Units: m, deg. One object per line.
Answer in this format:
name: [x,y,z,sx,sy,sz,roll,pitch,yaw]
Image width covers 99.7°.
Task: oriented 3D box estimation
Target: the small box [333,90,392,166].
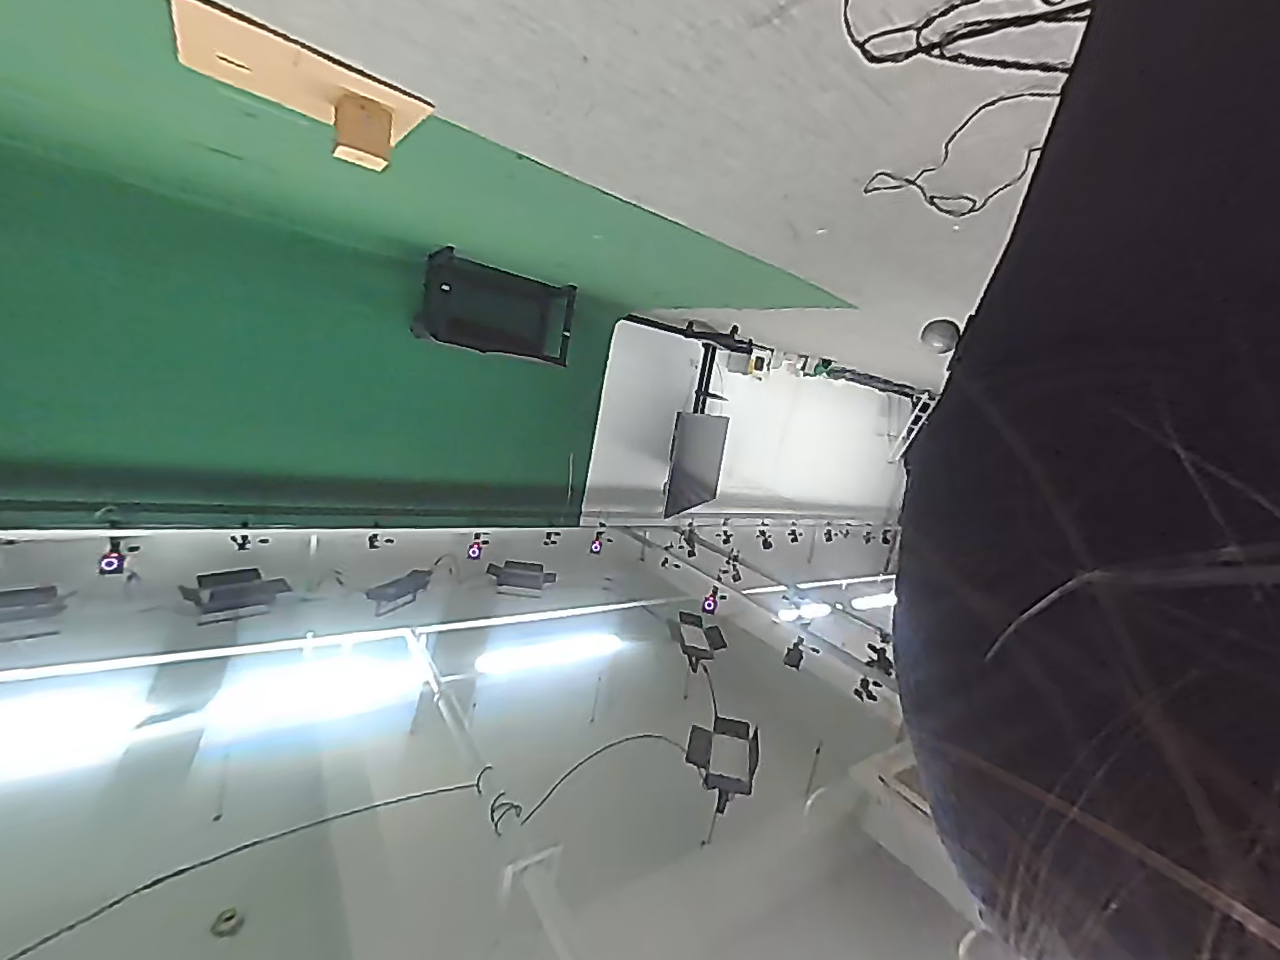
small box: [-1.024,-1.295,1.996,0.168,0.176,0.179,1,-166,-37]
